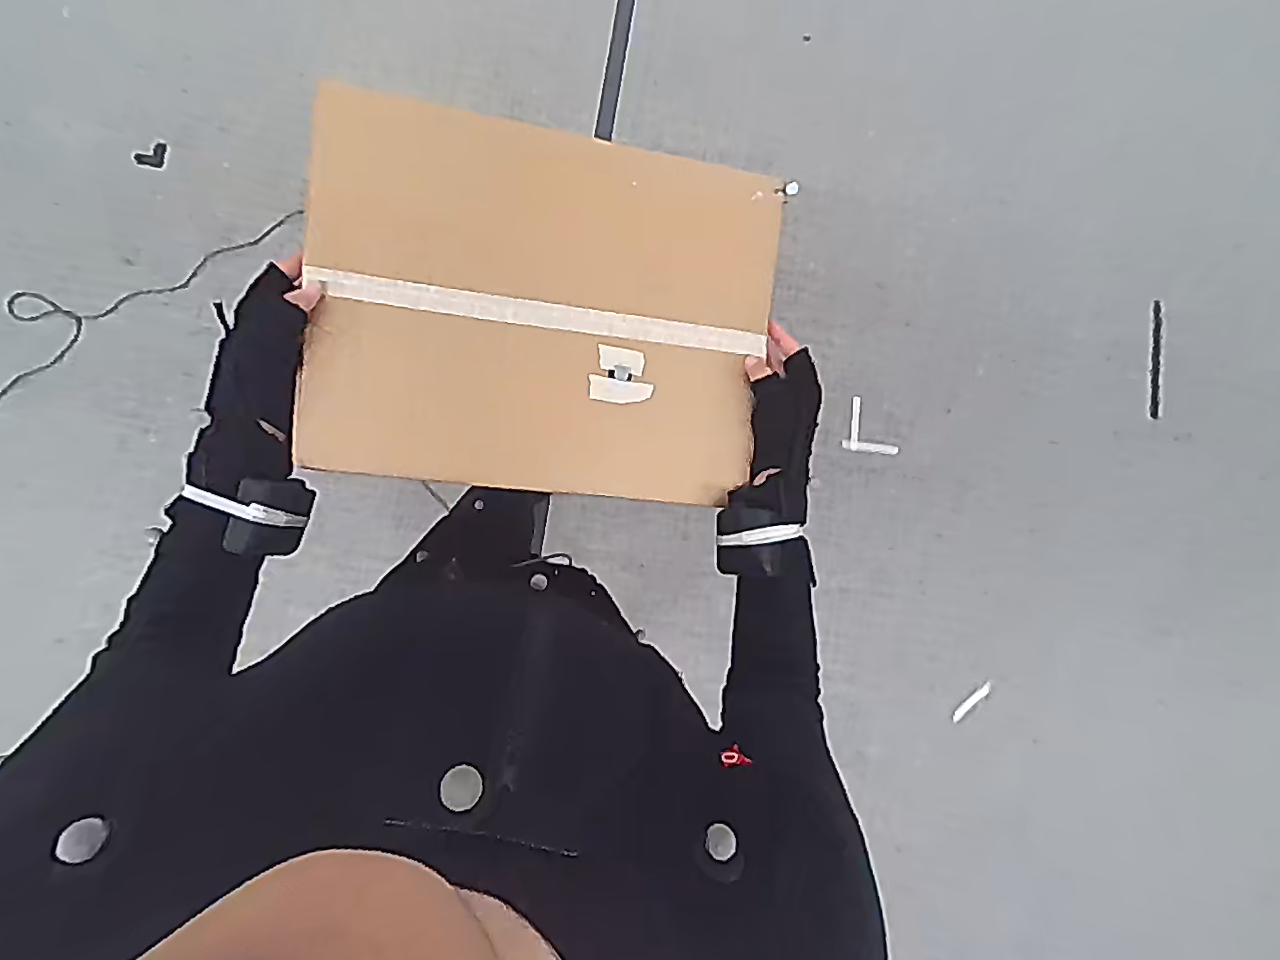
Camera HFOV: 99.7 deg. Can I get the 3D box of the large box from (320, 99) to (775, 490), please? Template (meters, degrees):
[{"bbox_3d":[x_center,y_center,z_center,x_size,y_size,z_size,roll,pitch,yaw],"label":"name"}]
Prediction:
[{"bbox_3d":[-0.104,-0.168,0.644,0.408,0.320,0.320,5,95,-11],"label":"large box"}]
